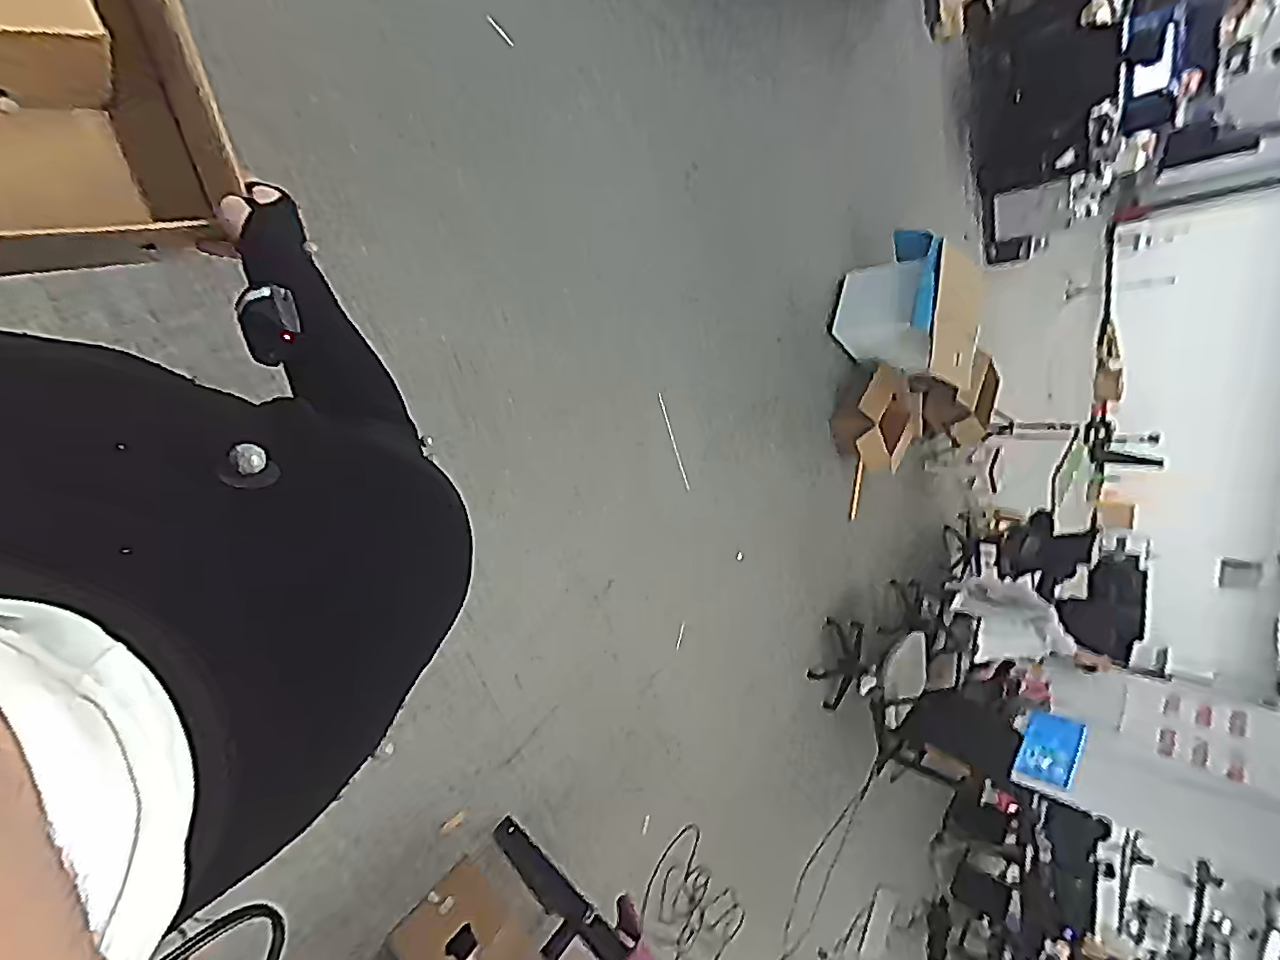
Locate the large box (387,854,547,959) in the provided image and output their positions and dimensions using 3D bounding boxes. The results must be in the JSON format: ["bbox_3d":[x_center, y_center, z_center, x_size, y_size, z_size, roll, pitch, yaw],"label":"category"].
[{"bbox_3d":[-0.555,1.560,1.782,0.320,0.320,0.408,-35,119,-34],"label":"large box"}]
